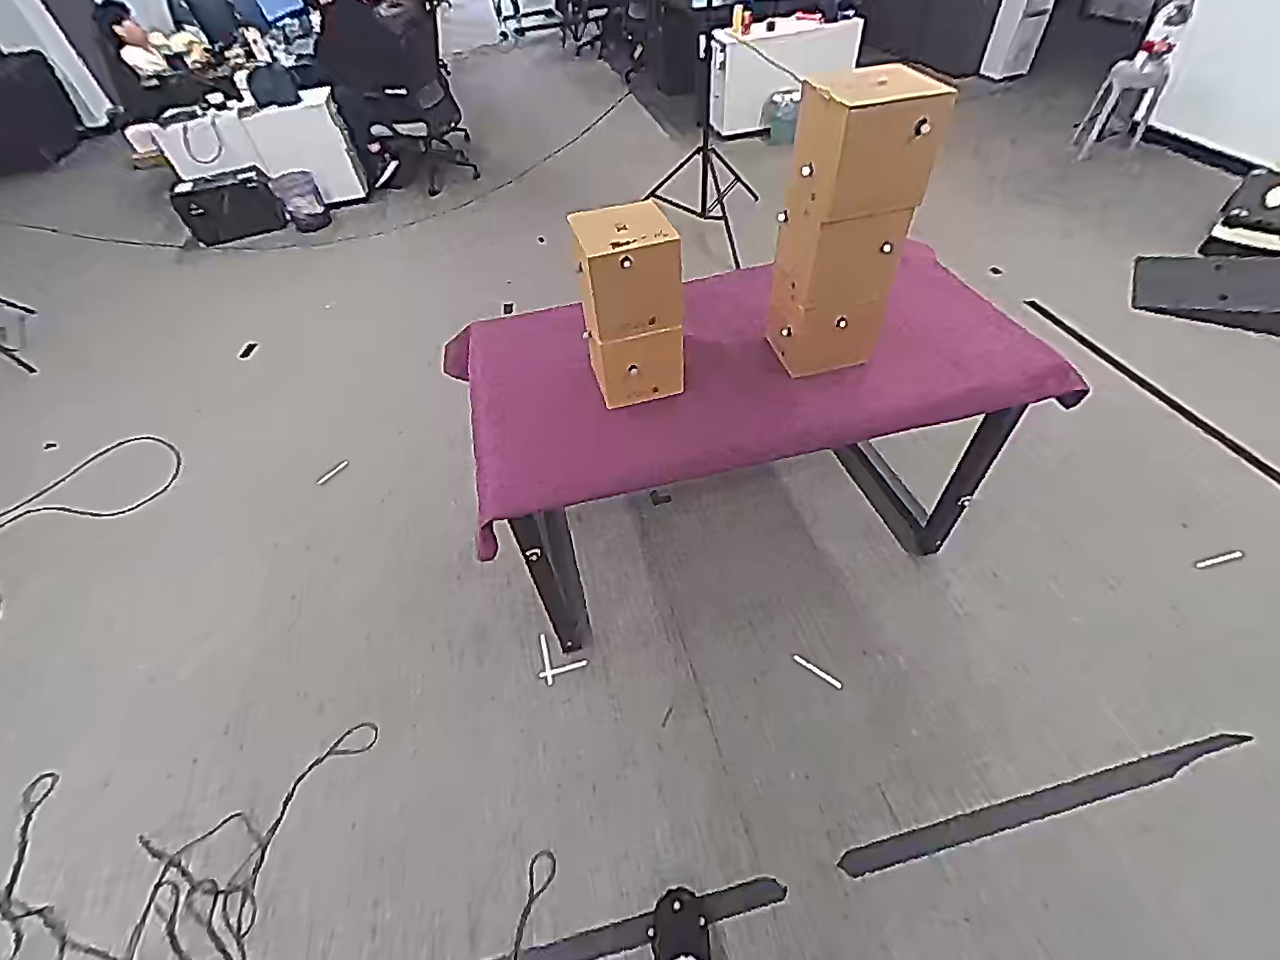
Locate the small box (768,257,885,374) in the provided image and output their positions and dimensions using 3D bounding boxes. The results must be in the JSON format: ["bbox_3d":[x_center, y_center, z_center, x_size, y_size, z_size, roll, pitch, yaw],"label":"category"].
[{"bbox_3d":[0.382,-0.345,1.151,0.179,0.176,0.168,-12,50,-5],"label":"small box"}]

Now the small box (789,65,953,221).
[{"bbox_3d":[0.368,-0.558,0.900,0.179,0.176,0.168,-13,49,-5],"label":"small box"}]

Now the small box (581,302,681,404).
[{"bbox_3d":[-0.015,-0.276,1.131,0.168,0.176,0.179,-14,49,-7],"label":"small box"}]

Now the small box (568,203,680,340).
[{"bbox_3d":[-0.029,-0.389,1.012,0.168,0.176,0.179,-16,49,-7],"label":"small box"}]
